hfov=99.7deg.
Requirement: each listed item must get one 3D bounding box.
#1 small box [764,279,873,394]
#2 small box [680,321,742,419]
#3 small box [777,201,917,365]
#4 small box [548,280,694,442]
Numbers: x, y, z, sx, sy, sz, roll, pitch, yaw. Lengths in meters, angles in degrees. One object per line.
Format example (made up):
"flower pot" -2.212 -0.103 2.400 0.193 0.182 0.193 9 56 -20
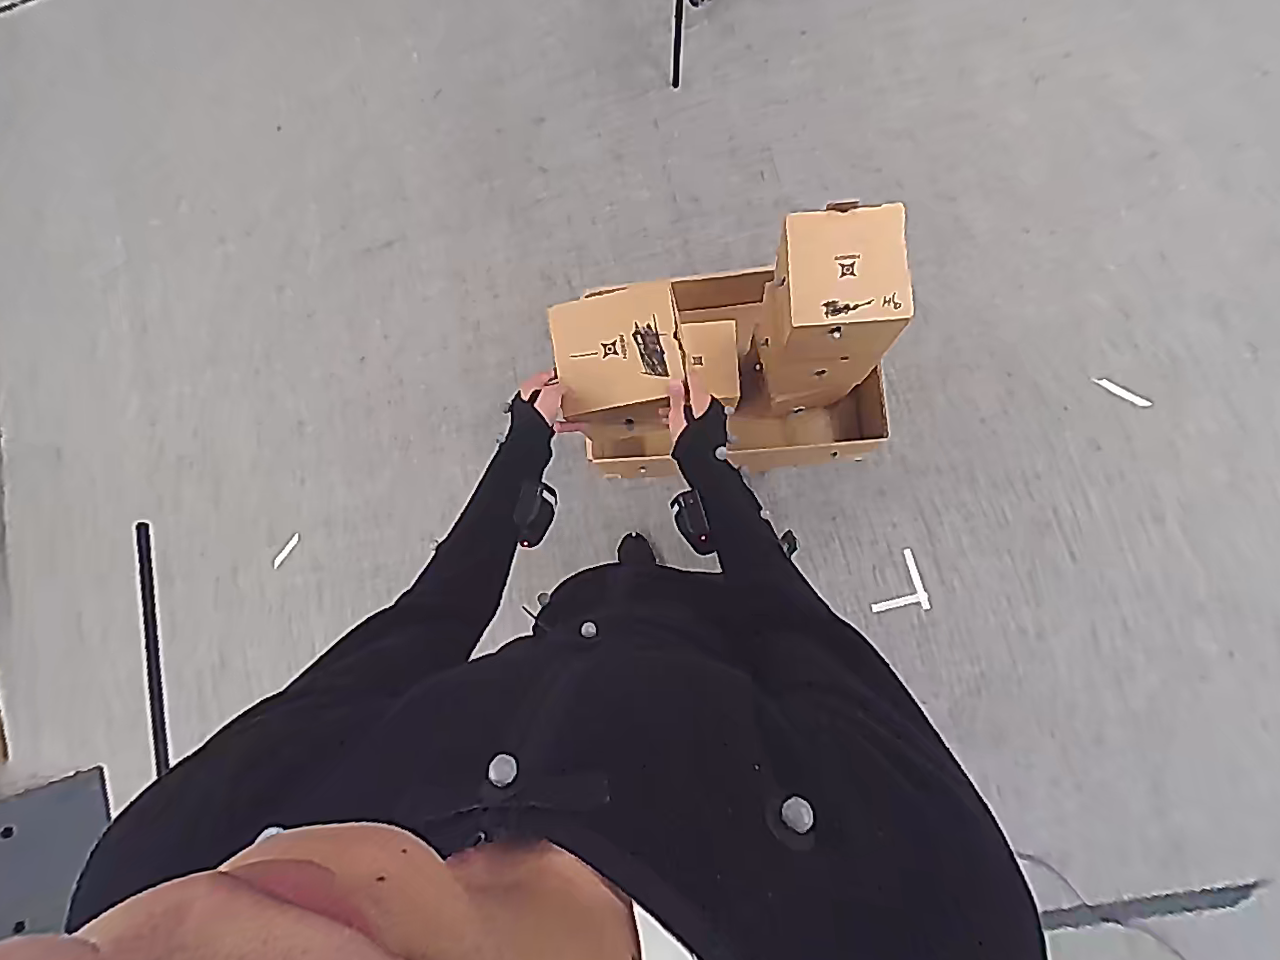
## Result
"small box" 0.325 -0.266 0.989 0.179 0.176 0.168 -8 82 7
"small box" 0.125 -0.233 1.179 0.179 0.176 0.168 -3 82 6
"small box" 0.304 -0.291 0.828 0.168 0.176 0.179 -2 82 9
"small box" -0.019 -0.163 0.799 0.179 0.176 0.168 -10 80 10
